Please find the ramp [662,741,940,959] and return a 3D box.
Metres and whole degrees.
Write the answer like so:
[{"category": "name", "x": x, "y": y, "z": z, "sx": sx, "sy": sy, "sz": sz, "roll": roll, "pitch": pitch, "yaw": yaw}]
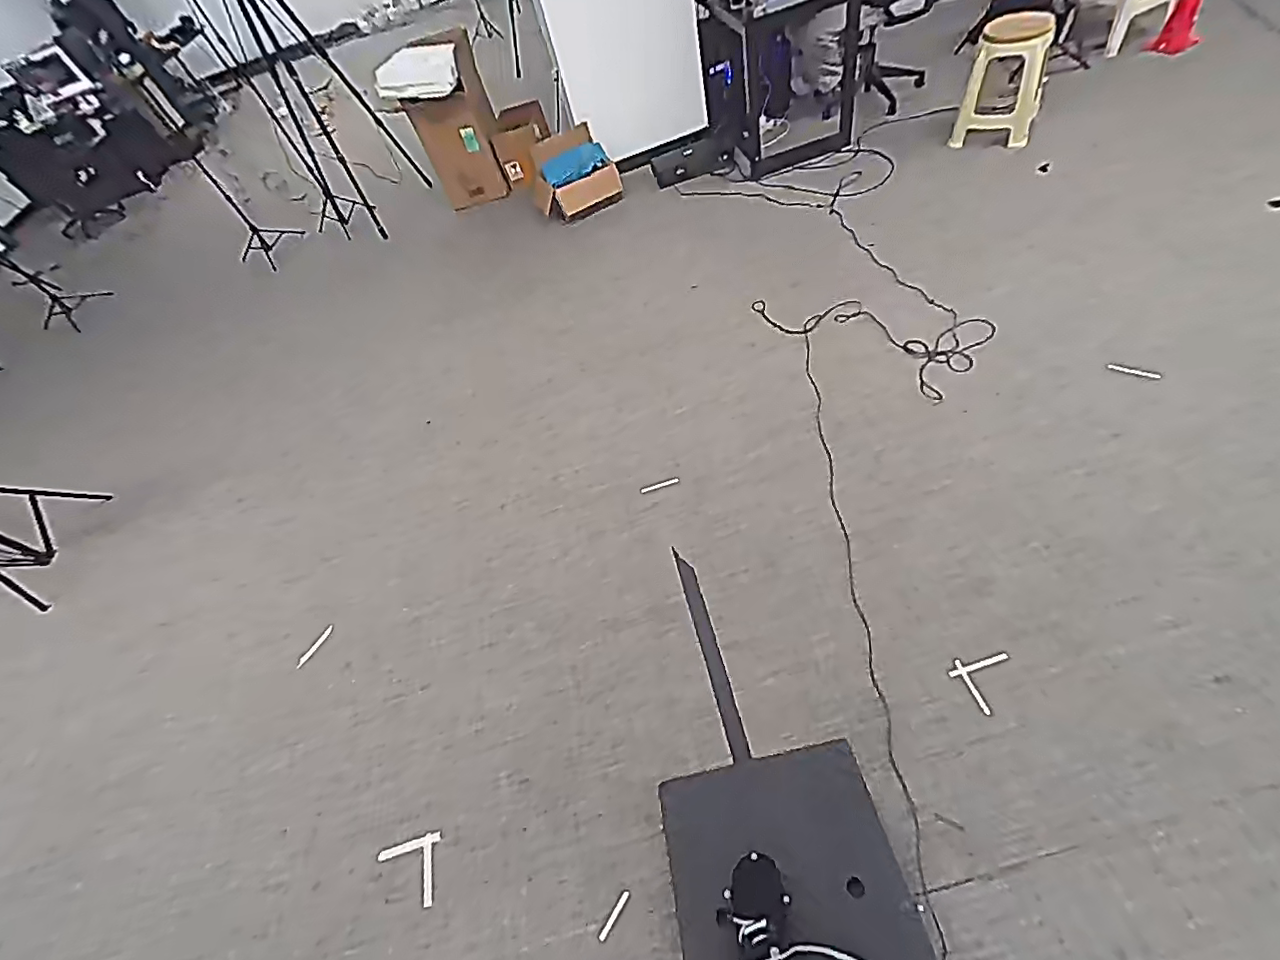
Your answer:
[{"category": "ramp", "x": 0.349, "y": 1.037, "z": 0.987, "sx": 0.509, "sy": 0.206, "sz": 0.991, "roll": -18, "pitch": 50, "yaw": 4}]
